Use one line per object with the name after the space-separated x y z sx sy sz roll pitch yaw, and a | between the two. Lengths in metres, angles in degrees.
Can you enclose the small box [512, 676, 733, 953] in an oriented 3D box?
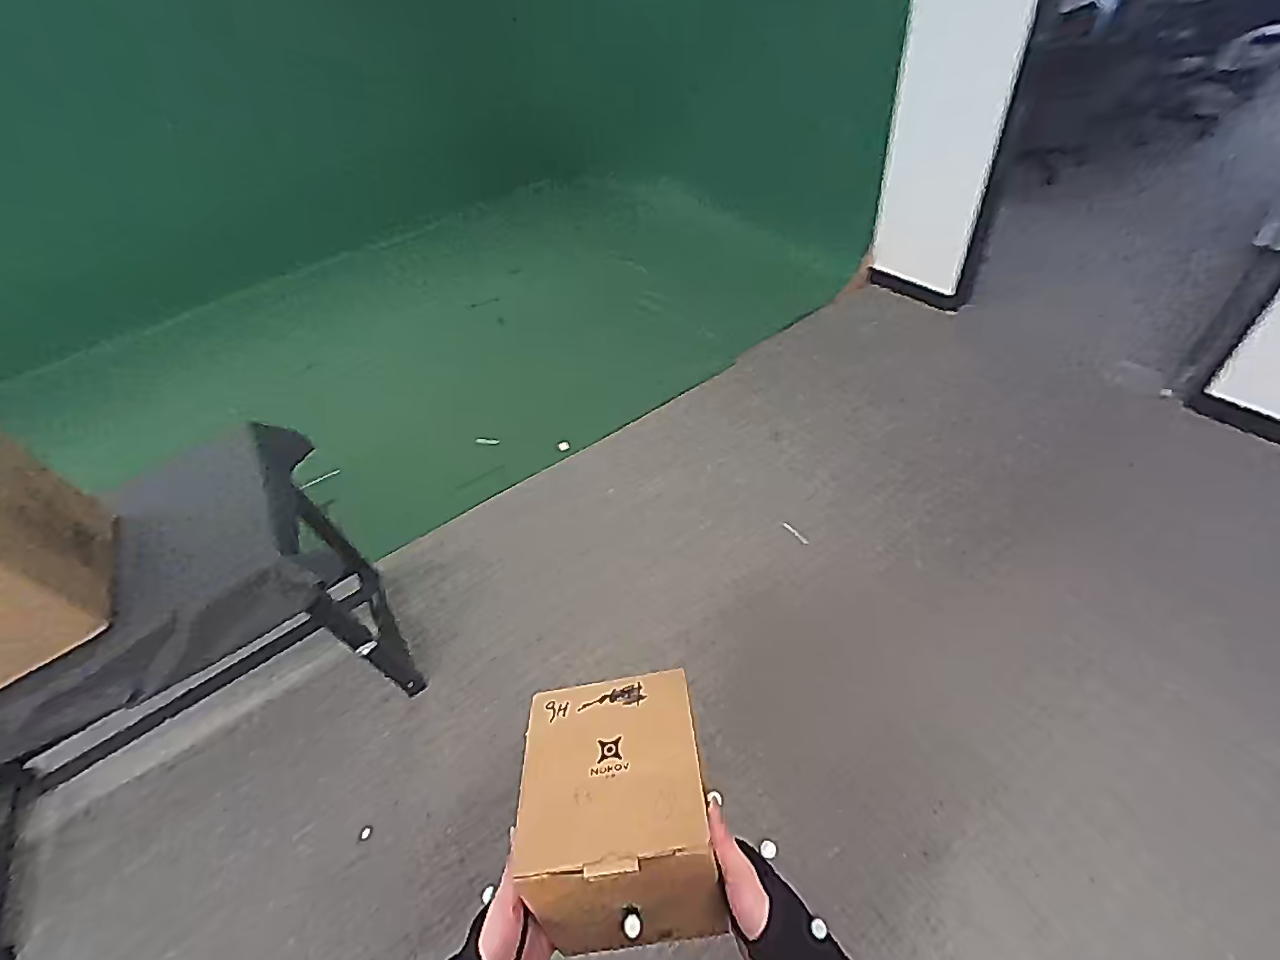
-0.011 0.329 0.533 0.168 0.176 0.179 -12 33 4 | small box
